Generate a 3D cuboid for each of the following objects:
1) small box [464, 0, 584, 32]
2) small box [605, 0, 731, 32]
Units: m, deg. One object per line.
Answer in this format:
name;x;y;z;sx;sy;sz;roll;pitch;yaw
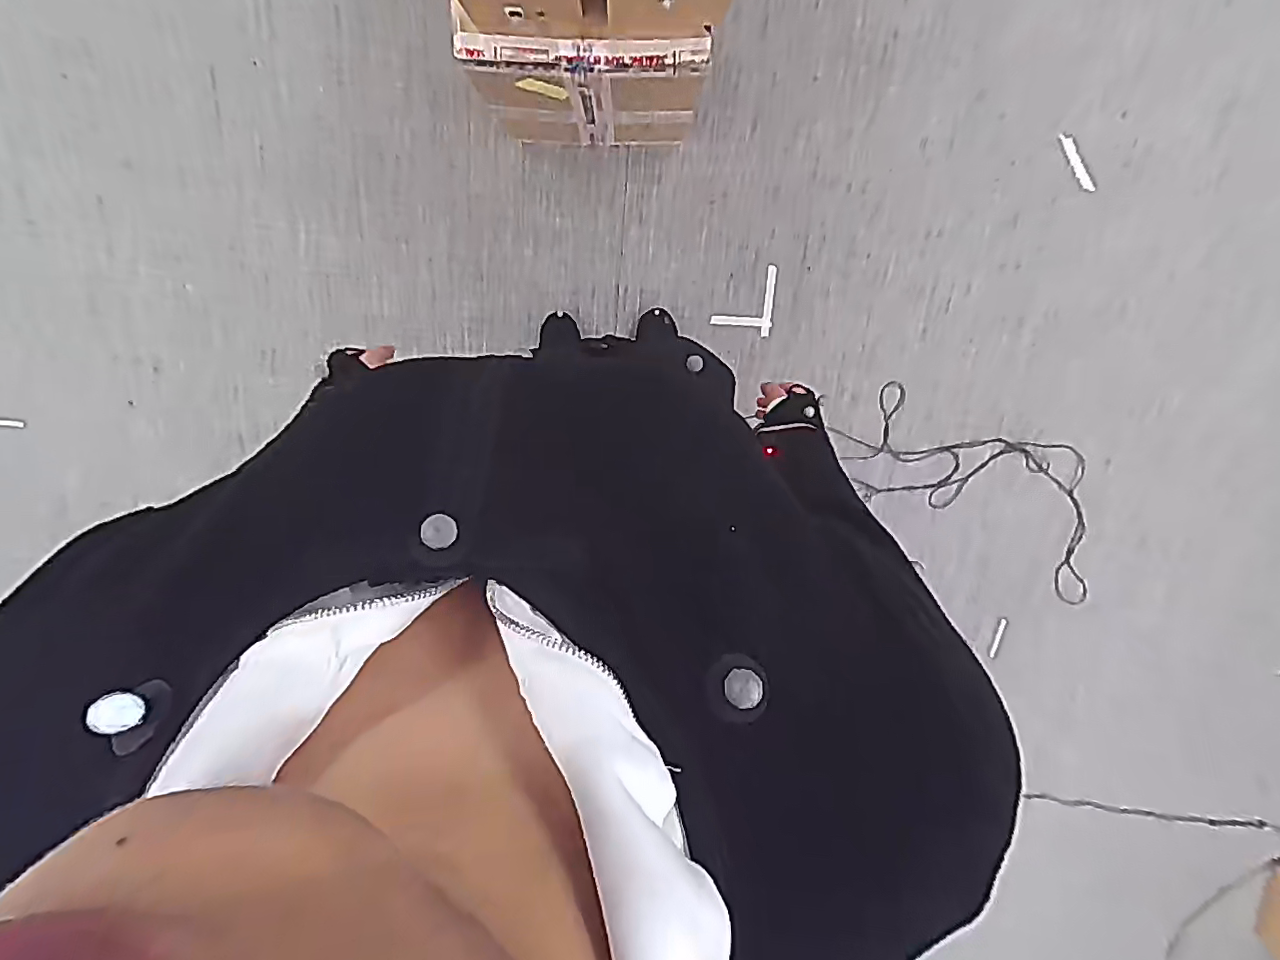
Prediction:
small box;-0.167;-0.726;0.701;0.168;0.176;0.179;-4;112;2
small box;0.040;-0.721;0.707;0.179;0.176;0.168;-2;110;-2
